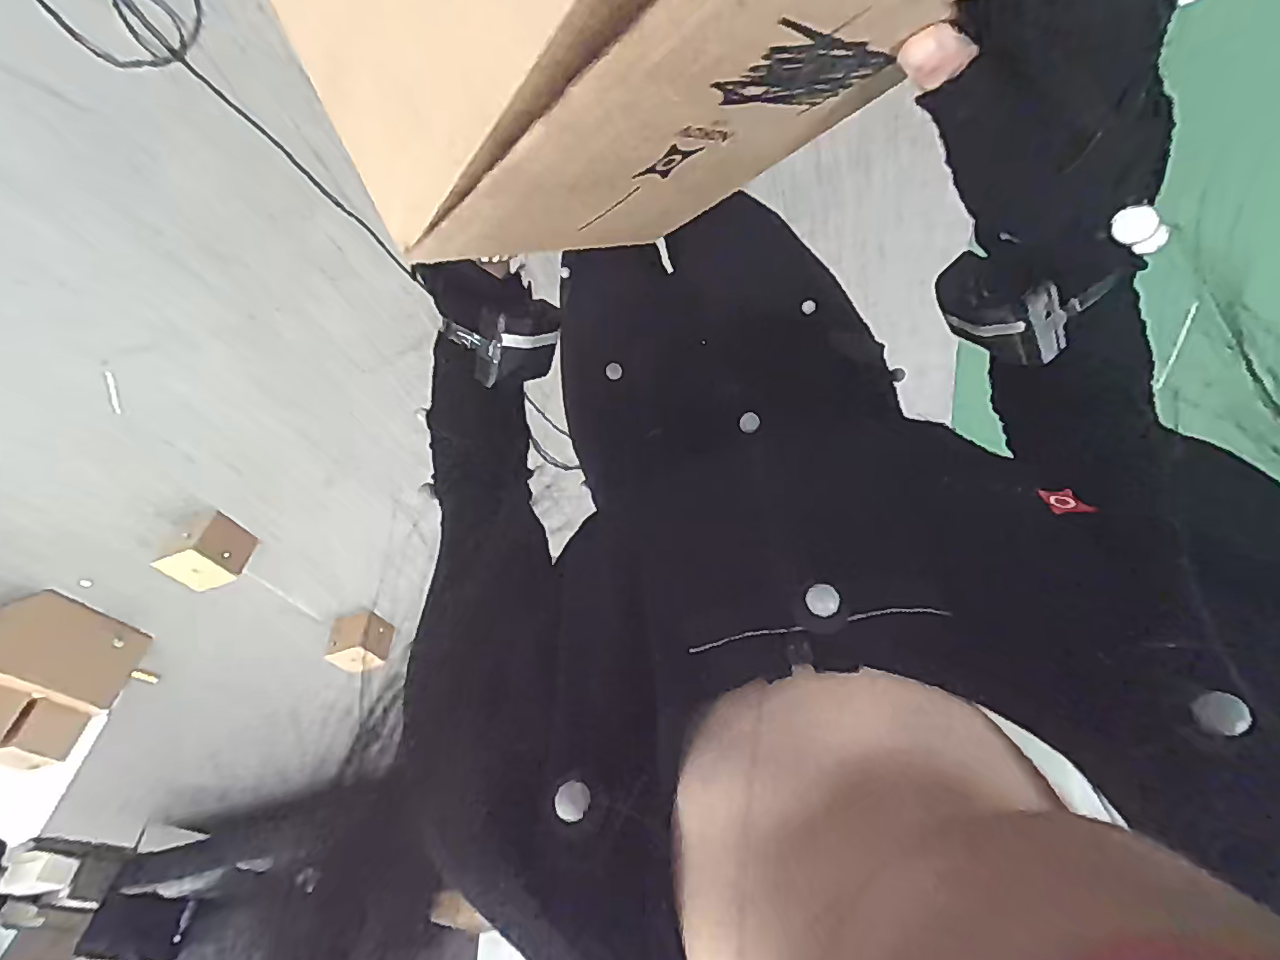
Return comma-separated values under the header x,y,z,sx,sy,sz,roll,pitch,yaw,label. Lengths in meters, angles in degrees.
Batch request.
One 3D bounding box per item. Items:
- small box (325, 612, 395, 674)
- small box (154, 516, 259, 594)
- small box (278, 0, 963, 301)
x,y,z,sx,sy,sz,roll,pitch,yaw,label
-1.145,0.672,2.226,0.179,0.176,0.168,-18,134,11,small box
-1.401,0.237,1.762,0.168,0.176,0.179,-19,134,11,small box
-0.019,-0.192,0.198,0.179,0.168,0.176,-19,97,45,small box
